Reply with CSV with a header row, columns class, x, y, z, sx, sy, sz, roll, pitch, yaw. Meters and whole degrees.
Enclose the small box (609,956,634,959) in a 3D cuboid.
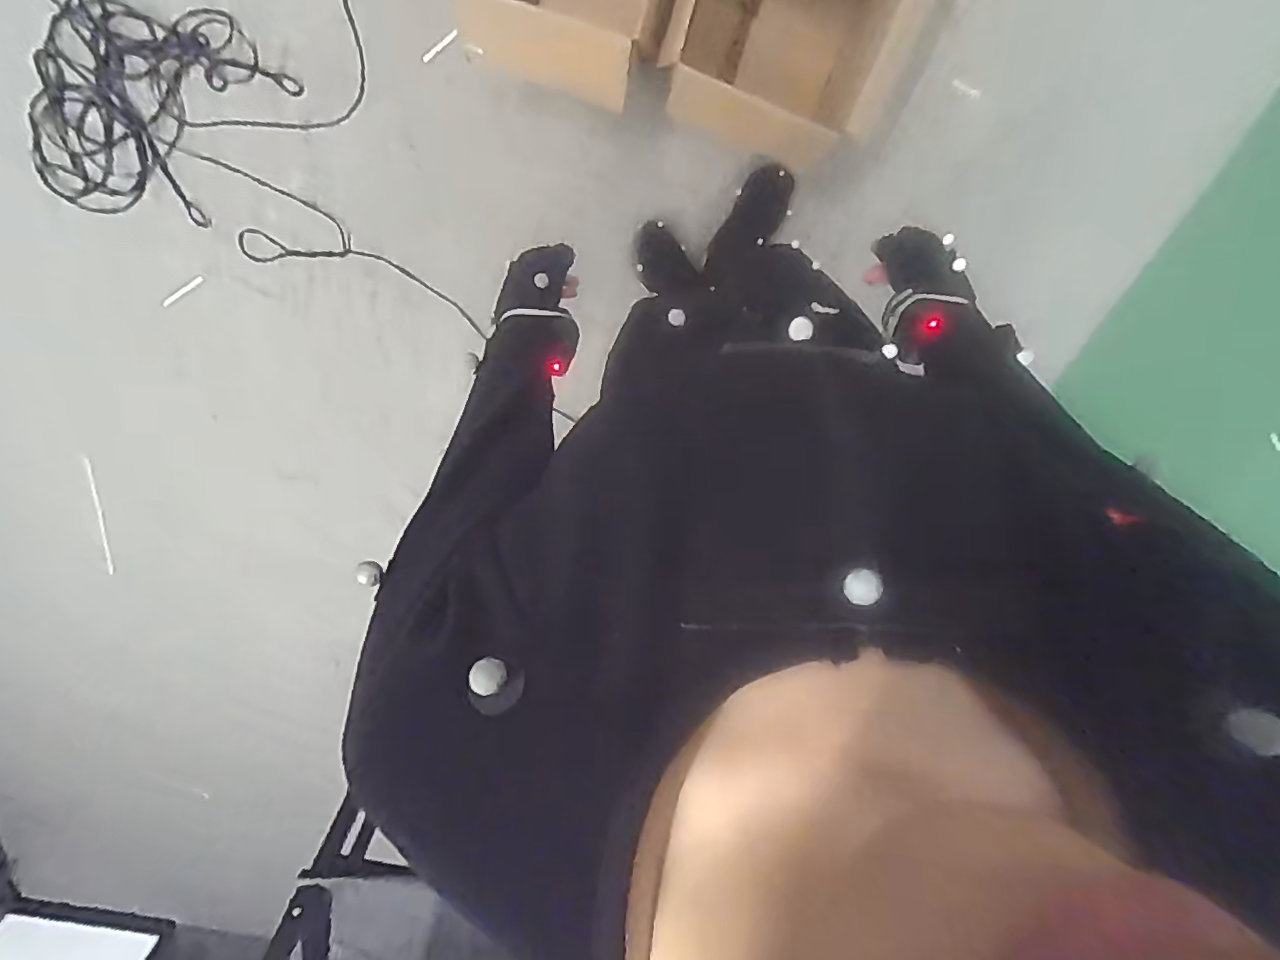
class,x,y,z,sx,sy,sz,roll,pitch,yaw
small box,-0.035,1.504,1.541,0.168,0.176,0.179,16,119,-8
